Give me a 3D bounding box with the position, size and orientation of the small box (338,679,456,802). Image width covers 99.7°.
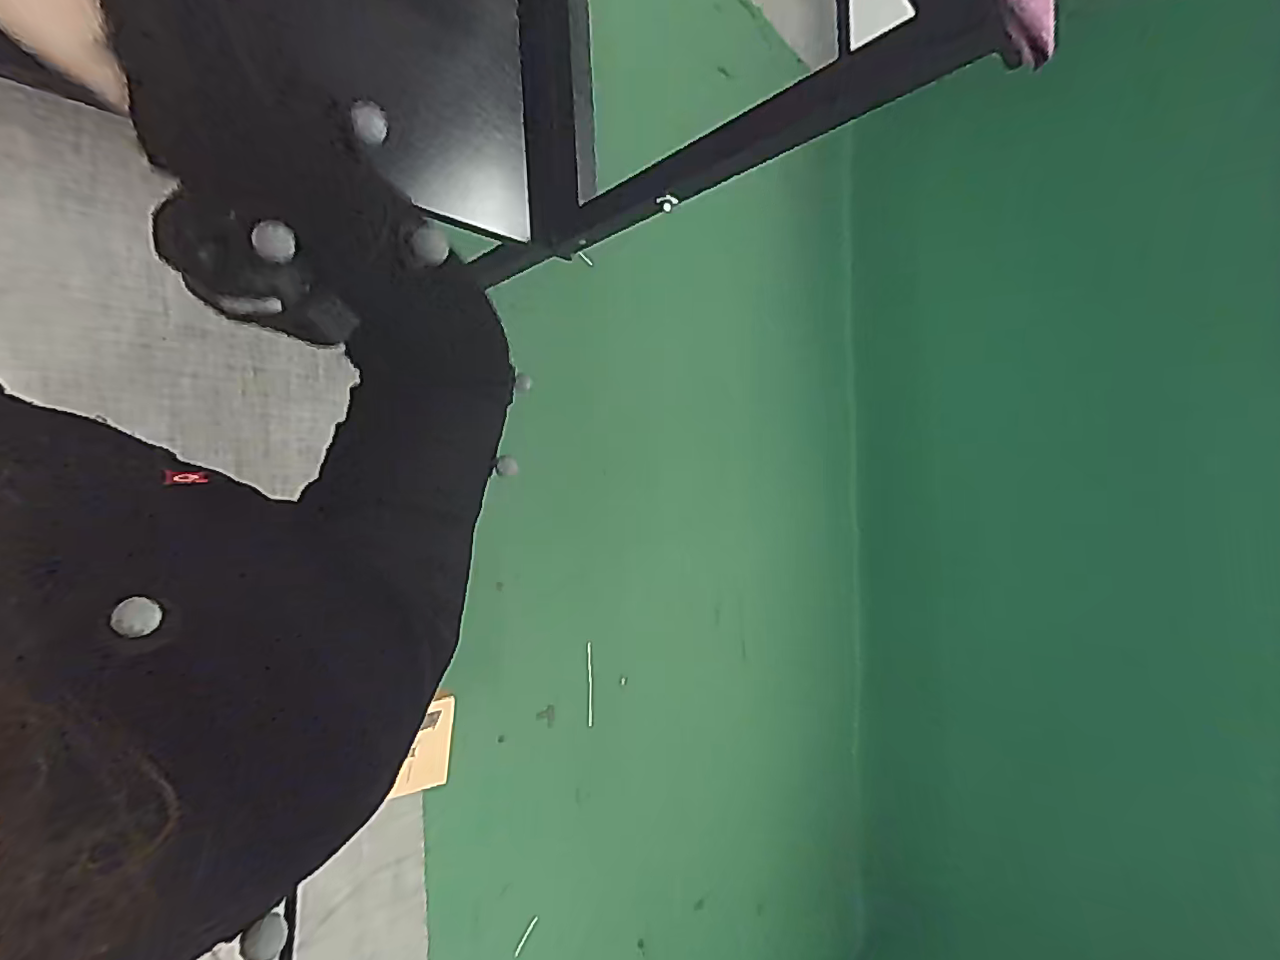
[{"bbox_3d":[-0.502,0.521,1.115,0.168,0.176,0.179,10,83,-45],"label":"small box"}]
